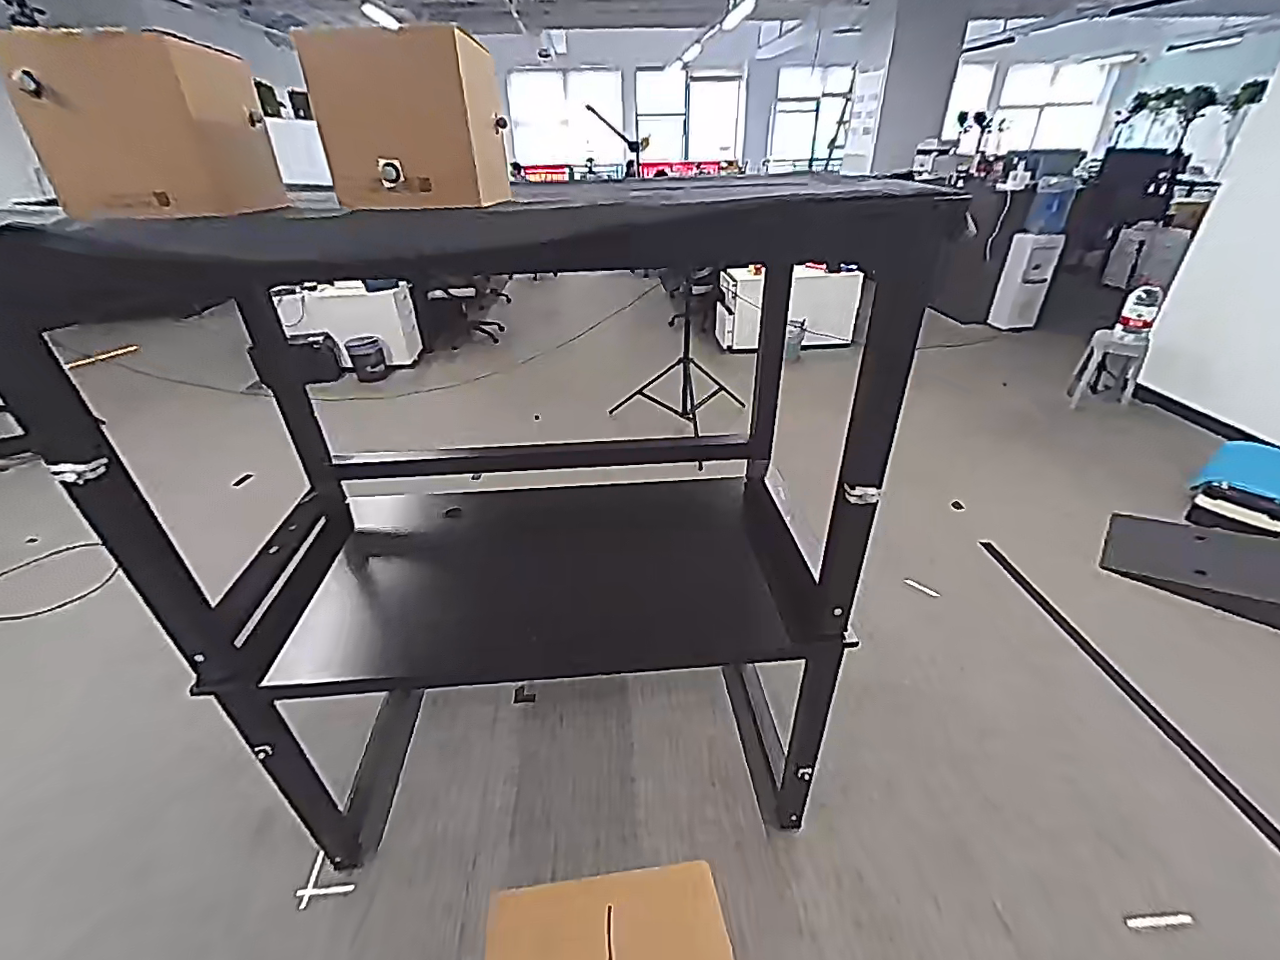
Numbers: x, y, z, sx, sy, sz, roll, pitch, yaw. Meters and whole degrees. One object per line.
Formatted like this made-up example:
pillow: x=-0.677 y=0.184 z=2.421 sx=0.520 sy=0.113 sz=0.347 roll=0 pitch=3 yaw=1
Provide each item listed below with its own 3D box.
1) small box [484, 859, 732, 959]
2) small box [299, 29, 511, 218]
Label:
small box: x=-0.018 y=0.405 z=0.364 sx=0.168 sy=0.176 sz=0.179 roll=-2 pitch=28 yaw=-11
small box: x=-0.257 y=-0.412 z=0.645 sx=0.168 sy=0.176 sz=0.179 roll=-3 pitch=31 yaw=0
